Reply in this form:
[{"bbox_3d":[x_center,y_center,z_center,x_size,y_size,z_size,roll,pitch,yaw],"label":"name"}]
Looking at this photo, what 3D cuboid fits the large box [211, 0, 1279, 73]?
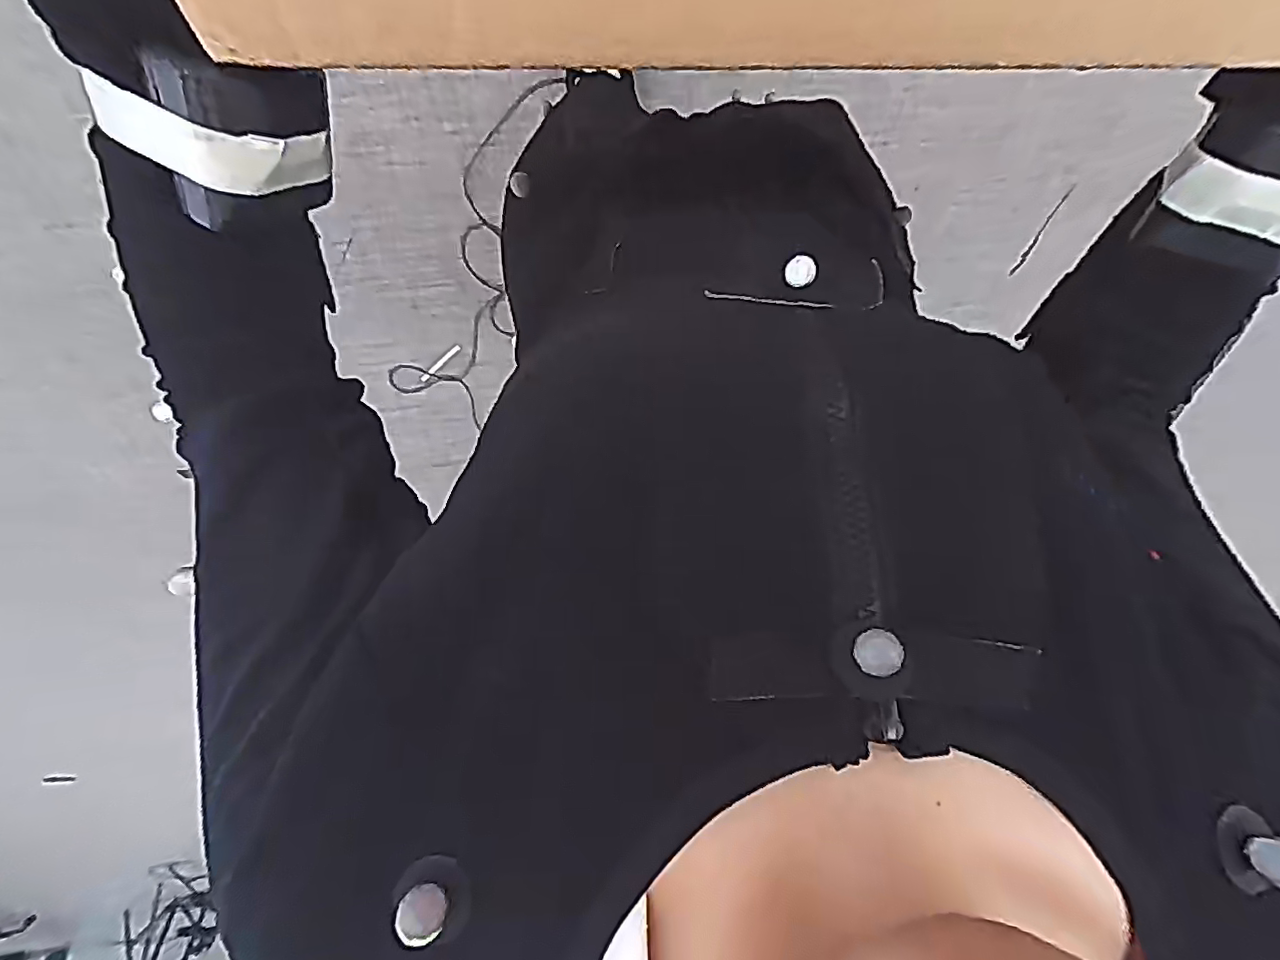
[{"bbox_3d":[0.056,-0.359,0.158,0.408,0.320,0.320,-2,143,-3],"label":"large box"}]
